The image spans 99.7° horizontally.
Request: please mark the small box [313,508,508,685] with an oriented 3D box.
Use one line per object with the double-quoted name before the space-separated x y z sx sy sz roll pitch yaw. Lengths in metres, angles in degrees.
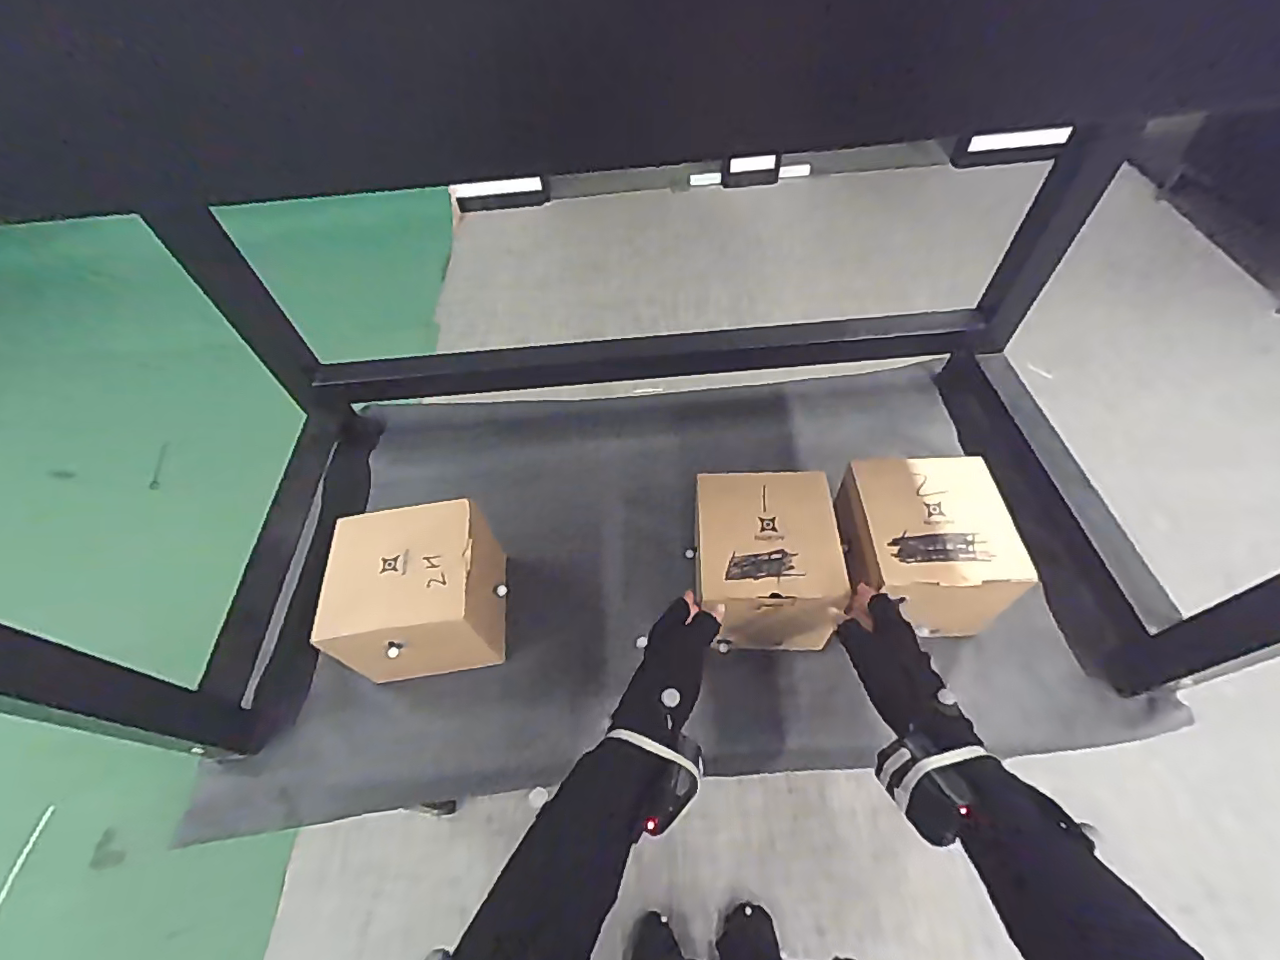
"small box" -0.286 0.160 0.719 0.179 0.176 0.168 -8 54 -1
